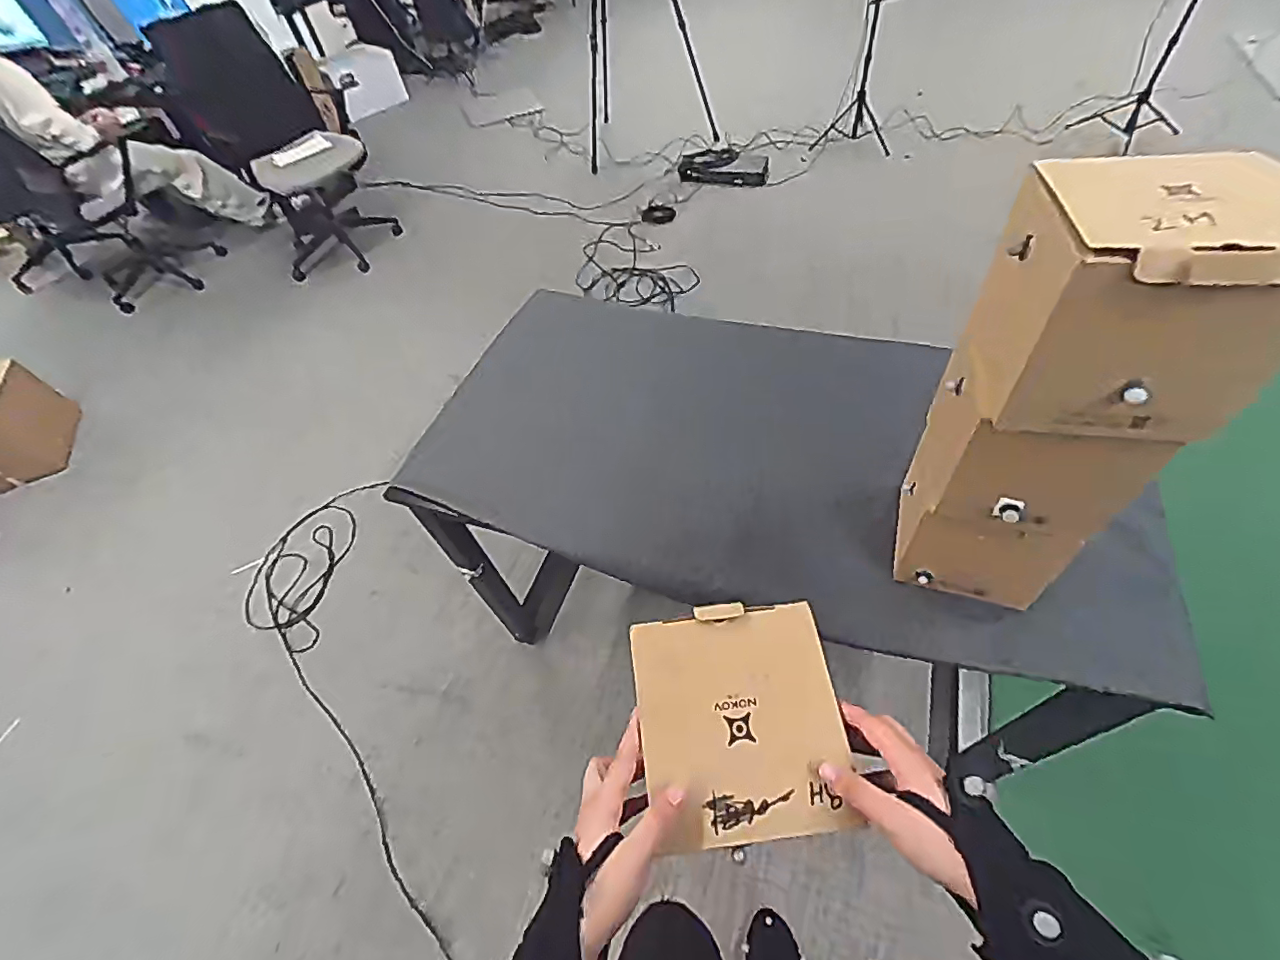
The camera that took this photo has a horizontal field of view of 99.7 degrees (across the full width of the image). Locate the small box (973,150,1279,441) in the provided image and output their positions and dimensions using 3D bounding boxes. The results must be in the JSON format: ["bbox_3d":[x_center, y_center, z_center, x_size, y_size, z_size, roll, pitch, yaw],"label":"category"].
[{"bbox_3d":[0.411,-0.158,0.466,0.168,0.176,0.179,5,52,15],"label":"small box"}]

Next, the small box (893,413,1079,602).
[{"bbox_3d":[0.450,0.038,0.726,0.168,0.176,0.179,12,53,18],"label":"small box"}]

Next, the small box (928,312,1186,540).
[{"bbox_3d":[0.430,-0.060,0.599,0.168,0.176,0.179,8,53,16],"label":"small box"}]

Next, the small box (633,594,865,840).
[{"bbox_3d":[0.086,0.226,0.520,0.168,0.176,0.179,-8,62,1],"label":"small box"}]
